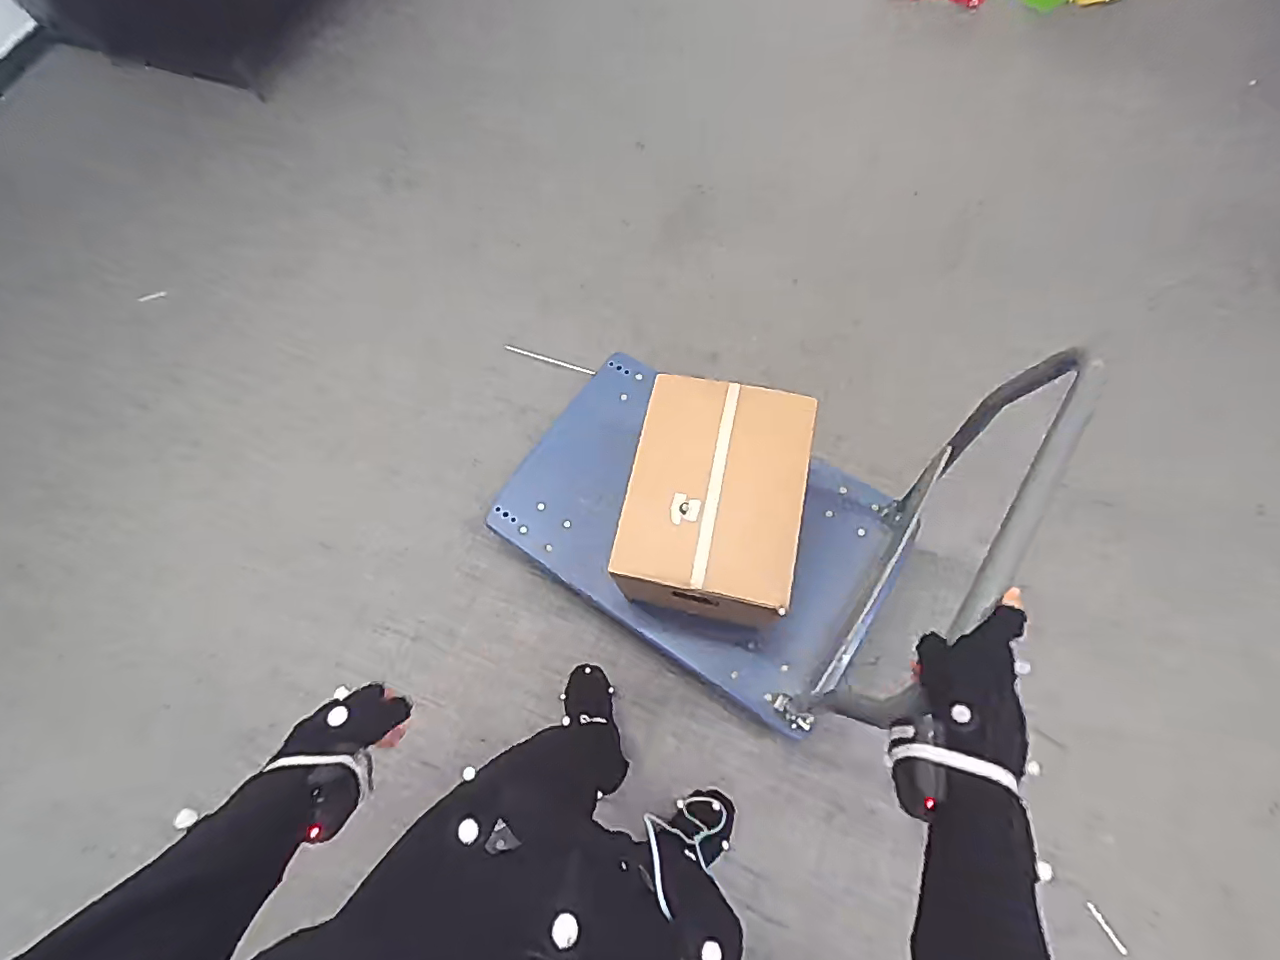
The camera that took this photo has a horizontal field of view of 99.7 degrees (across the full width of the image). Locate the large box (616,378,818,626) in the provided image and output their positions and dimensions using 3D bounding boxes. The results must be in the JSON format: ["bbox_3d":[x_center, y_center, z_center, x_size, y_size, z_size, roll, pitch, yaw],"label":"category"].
[{"bbox_3d":[0.156,0.058,1.117,0.320,0.320,0.408,11,71,9],"label":"large box"}]
